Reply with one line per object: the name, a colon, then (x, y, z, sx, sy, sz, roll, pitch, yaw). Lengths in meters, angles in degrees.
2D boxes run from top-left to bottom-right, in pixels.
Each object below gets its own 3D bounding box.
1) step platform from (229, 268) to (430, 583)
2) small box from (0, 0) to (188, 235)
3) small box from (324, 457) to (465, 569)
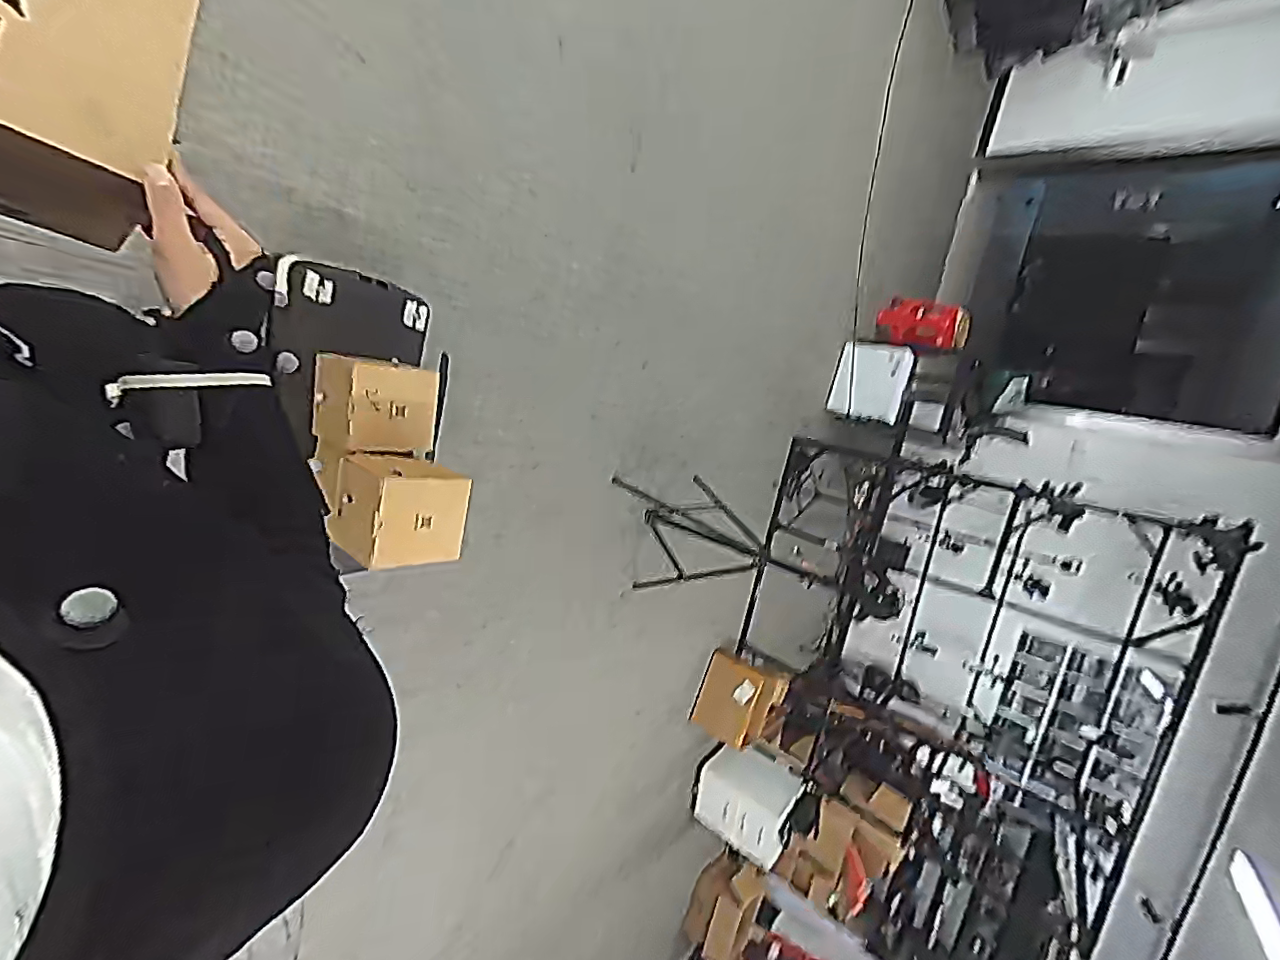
step platform: (-0.697, -0.110, 1.231, 0.286, 0.204, 0.684, 4, 100, -53)
small box: (-0.432, -0.296, 0.355, 0.168, 0.176, 0.179, 12, 82, -52)
small box: (-0.467, 0.055, 1.031, 0.179, 0.176, 0.168, 1, 104, -52)
